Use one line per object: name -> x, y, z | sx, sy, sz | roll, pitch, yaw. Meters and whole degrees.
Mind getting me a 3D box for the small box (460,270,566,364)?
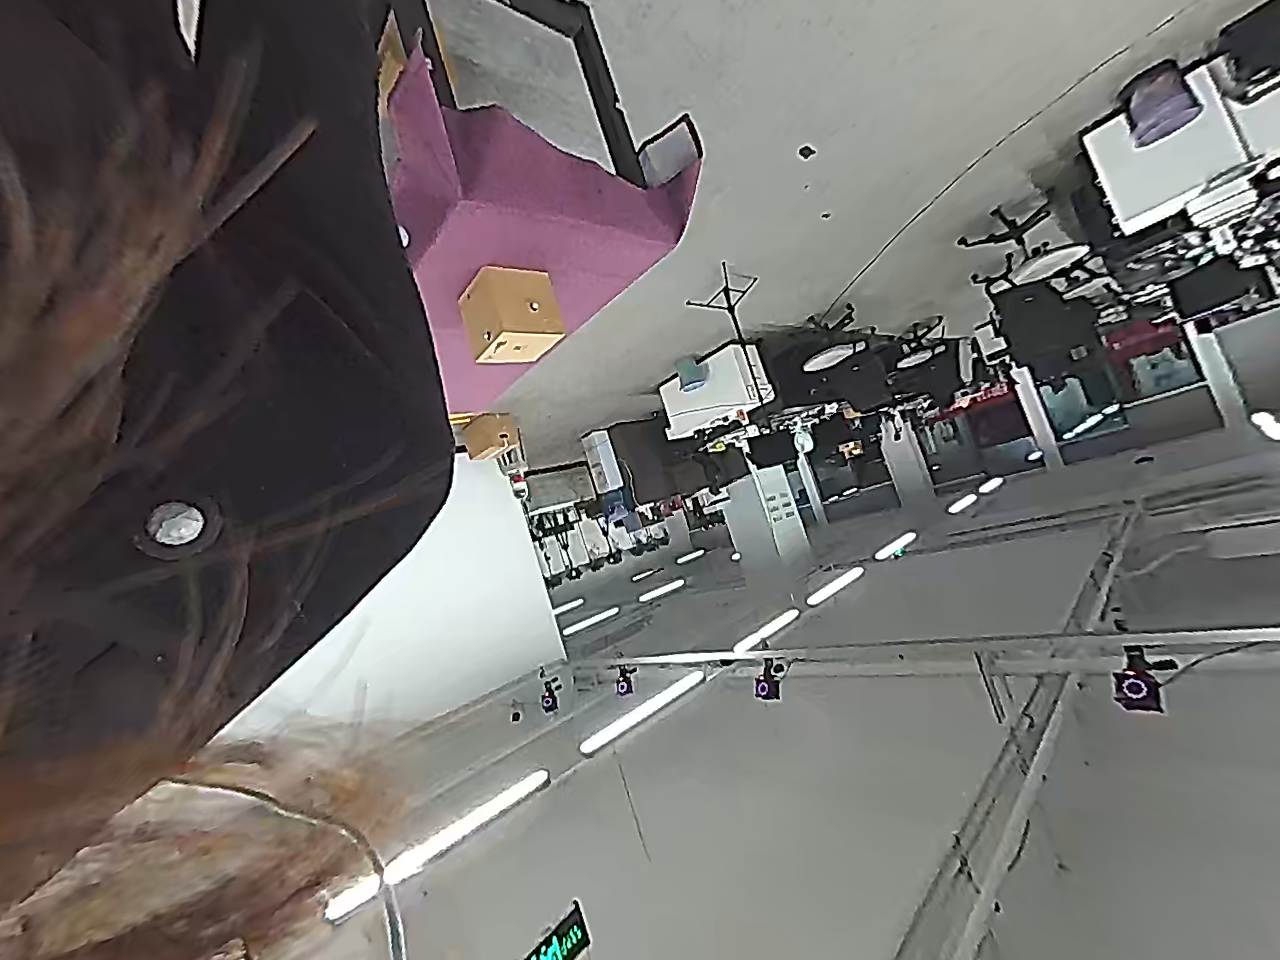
small box -> -0.318, -0.401, 1.339 | 0.179, 0.176, 0.168 | -14, 173, -42
